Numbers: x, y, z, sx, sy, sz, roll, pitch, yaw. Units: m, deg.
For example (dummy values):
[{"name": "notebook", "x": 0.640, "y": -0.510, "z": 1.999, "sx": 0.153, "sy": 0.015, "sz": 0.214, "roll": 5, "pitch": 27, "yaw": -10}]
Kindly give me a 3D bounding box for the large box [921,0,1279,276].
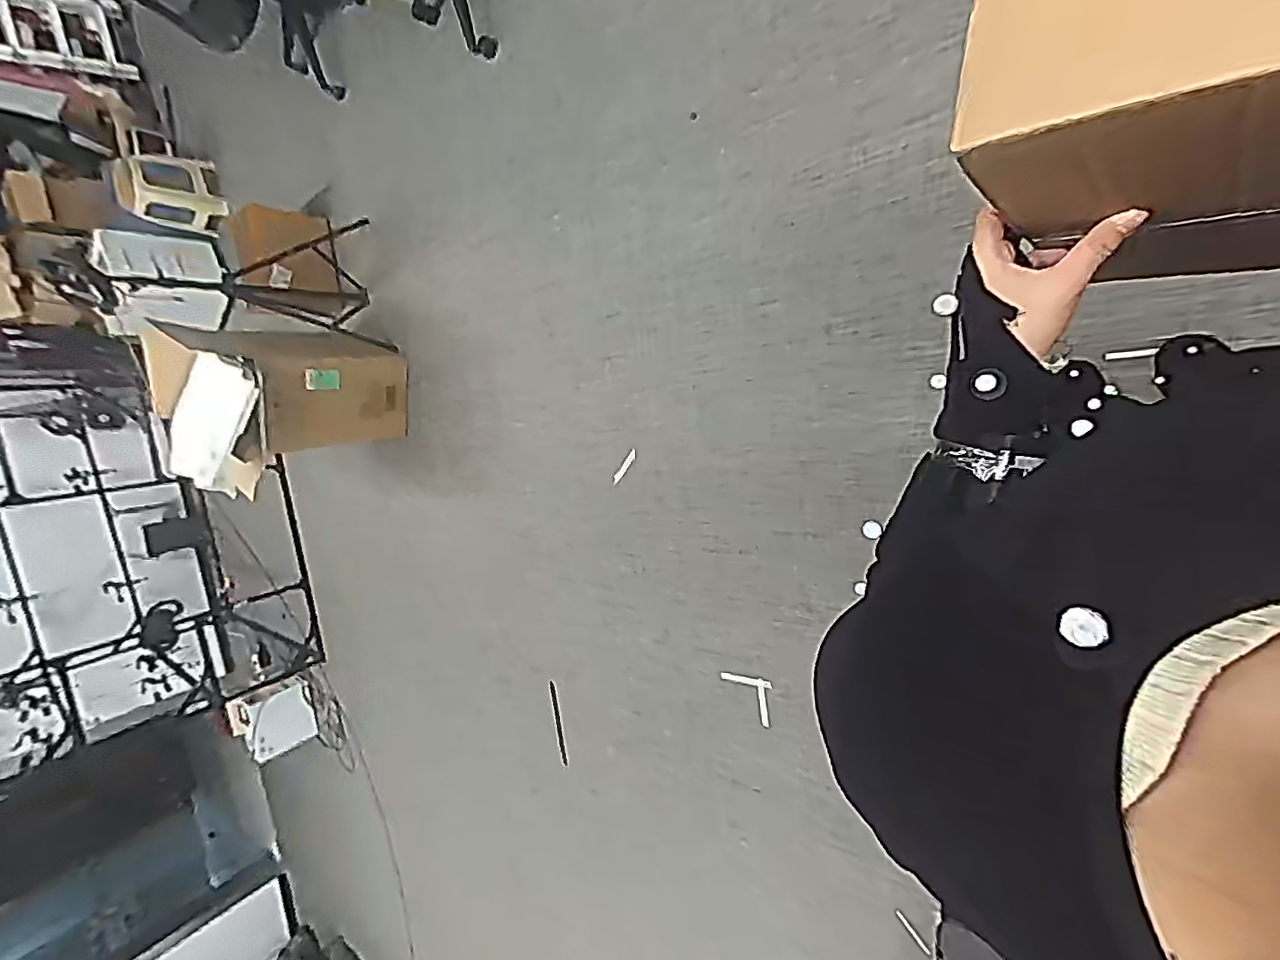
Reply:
[{"name": "large box", "x": 0.397, "y": -0.298, "z": 0.218, "sx": 0.408, "sy": 0.320, "sz": 0.320, "roll": 12, "pitch": 103, "yaw": 48}]
